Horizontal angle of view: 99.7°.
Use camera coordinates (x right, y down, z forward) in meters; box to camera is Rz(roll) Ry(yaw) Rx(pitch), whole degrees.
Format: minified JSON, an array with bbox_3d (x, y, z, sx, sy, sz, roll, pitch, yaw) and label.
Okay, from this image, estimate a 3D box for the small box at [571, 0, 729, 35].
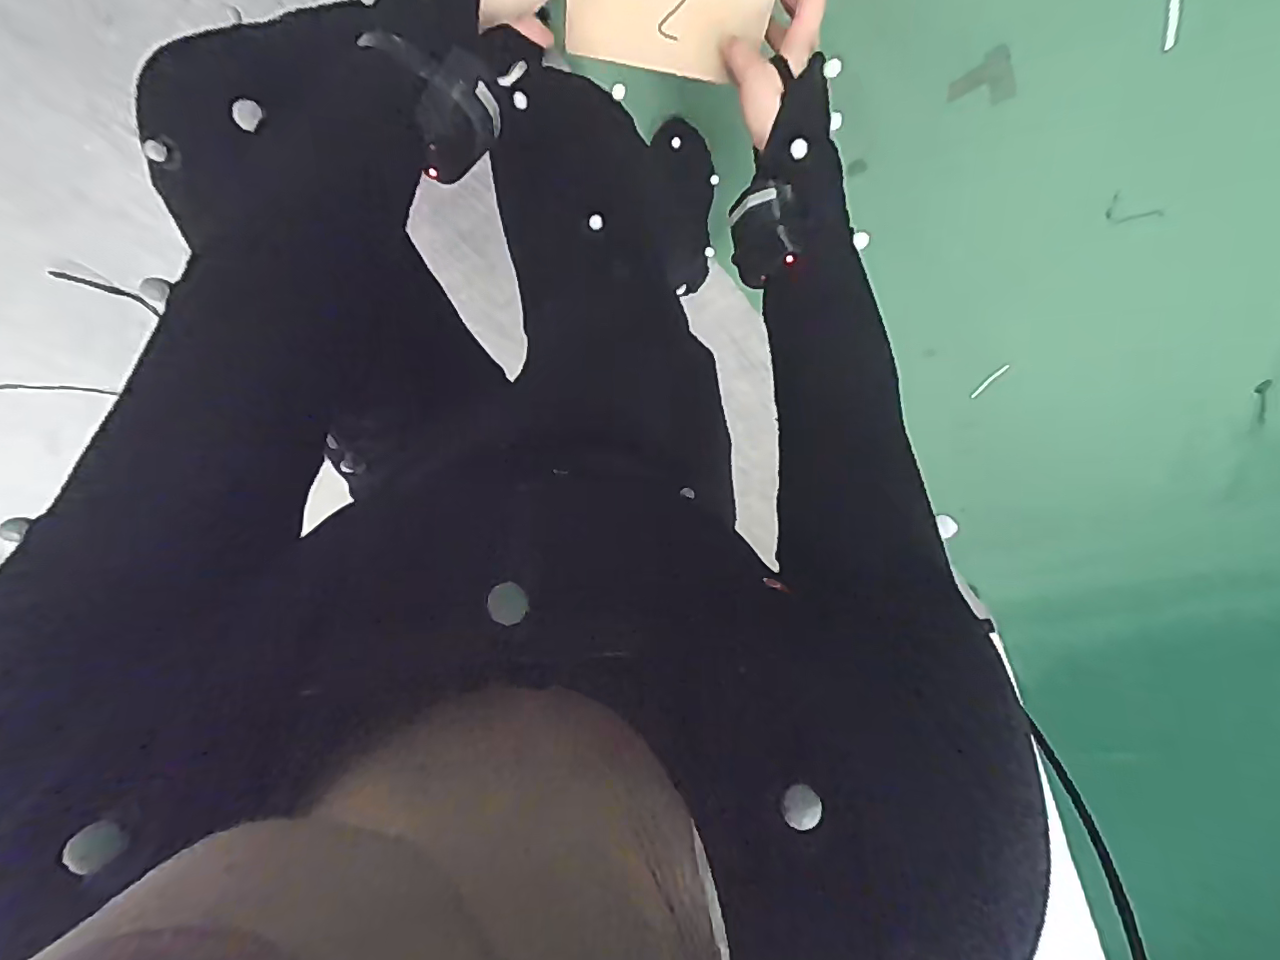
[{"bbox_3d":[0.024,-0.594,0.535,0.168,0.176,0.179,6,149,-6],"label":"small box"}]
